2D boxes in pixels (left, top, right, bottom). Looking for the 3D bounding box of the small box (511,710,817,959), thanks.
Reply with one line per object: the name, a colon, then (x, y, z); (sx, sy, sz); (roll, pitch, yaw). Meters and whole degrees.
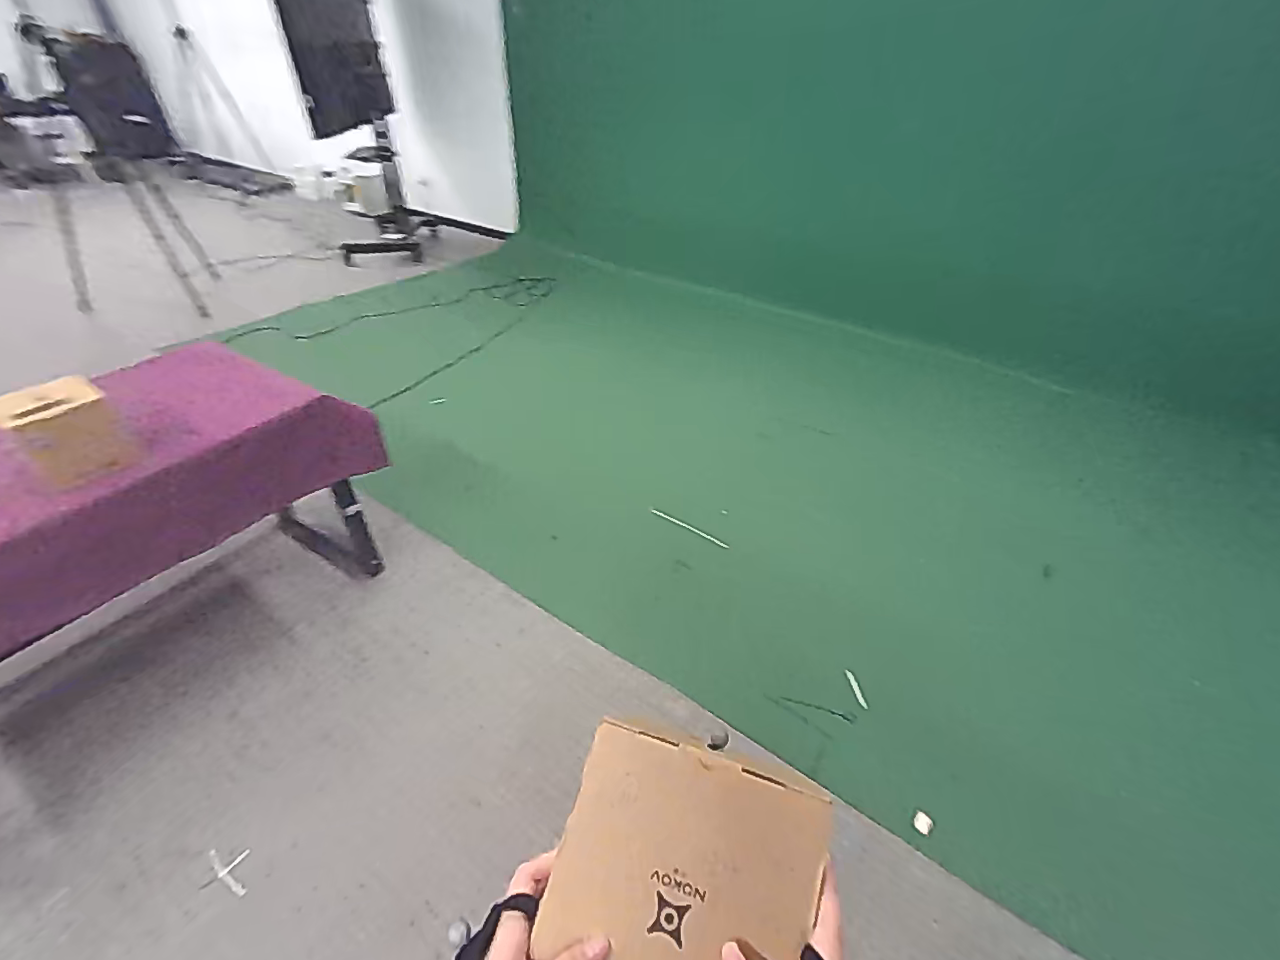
small box: (0.028, 0.295, 0.417); (0.168, 0.176, 0.179); (12, 68, 16)
